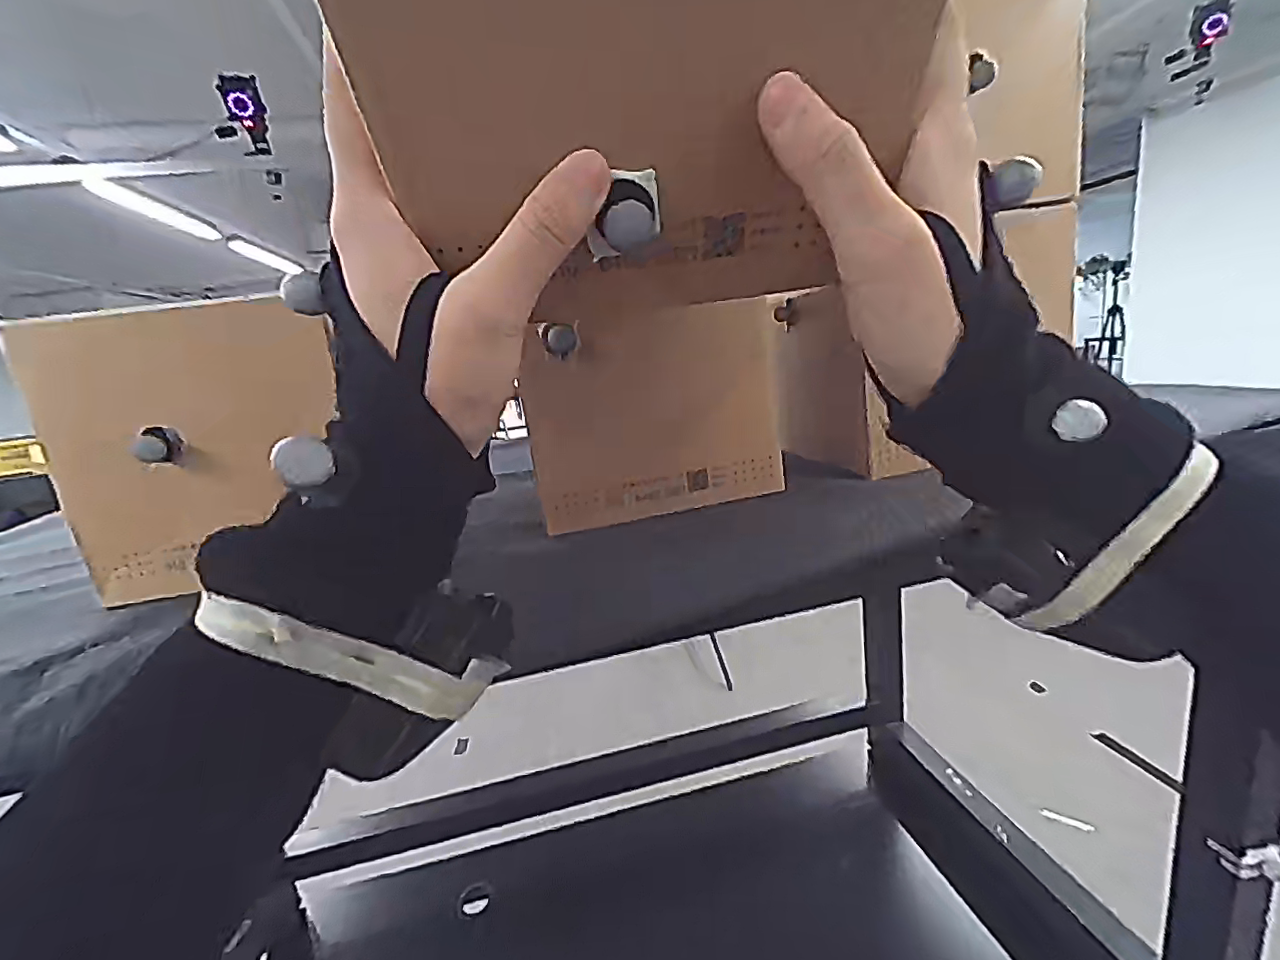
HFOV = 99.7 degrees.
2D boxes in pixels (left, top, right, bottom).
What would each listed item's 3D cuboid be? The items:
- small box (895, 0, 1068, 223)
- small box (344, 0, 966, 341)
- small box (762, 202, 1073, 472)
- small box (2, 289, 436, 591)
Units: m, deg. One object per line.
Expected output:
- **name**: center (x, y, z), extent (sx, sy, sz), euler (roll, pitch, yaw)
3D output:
- **small box**: center (0.189, -0.269, 0.416), extent (0.168, 0.176, 0.179), euler (-10, 13, -8)
- **small box**: center (-0.005, -0.175, 0.195), extent (0.168, 0.176, 0.179), euler (-10, 49, -3)
- **small box**: center (0.210, -0.109, 0.452), extent (0.168, 0.176, 0.179), euler (-12, 13, -8)
- **small box**: center (-0.261, -0.030, 0.393), extent (0.168, 0.176, 0.179), euler (-9, 12, -7)
